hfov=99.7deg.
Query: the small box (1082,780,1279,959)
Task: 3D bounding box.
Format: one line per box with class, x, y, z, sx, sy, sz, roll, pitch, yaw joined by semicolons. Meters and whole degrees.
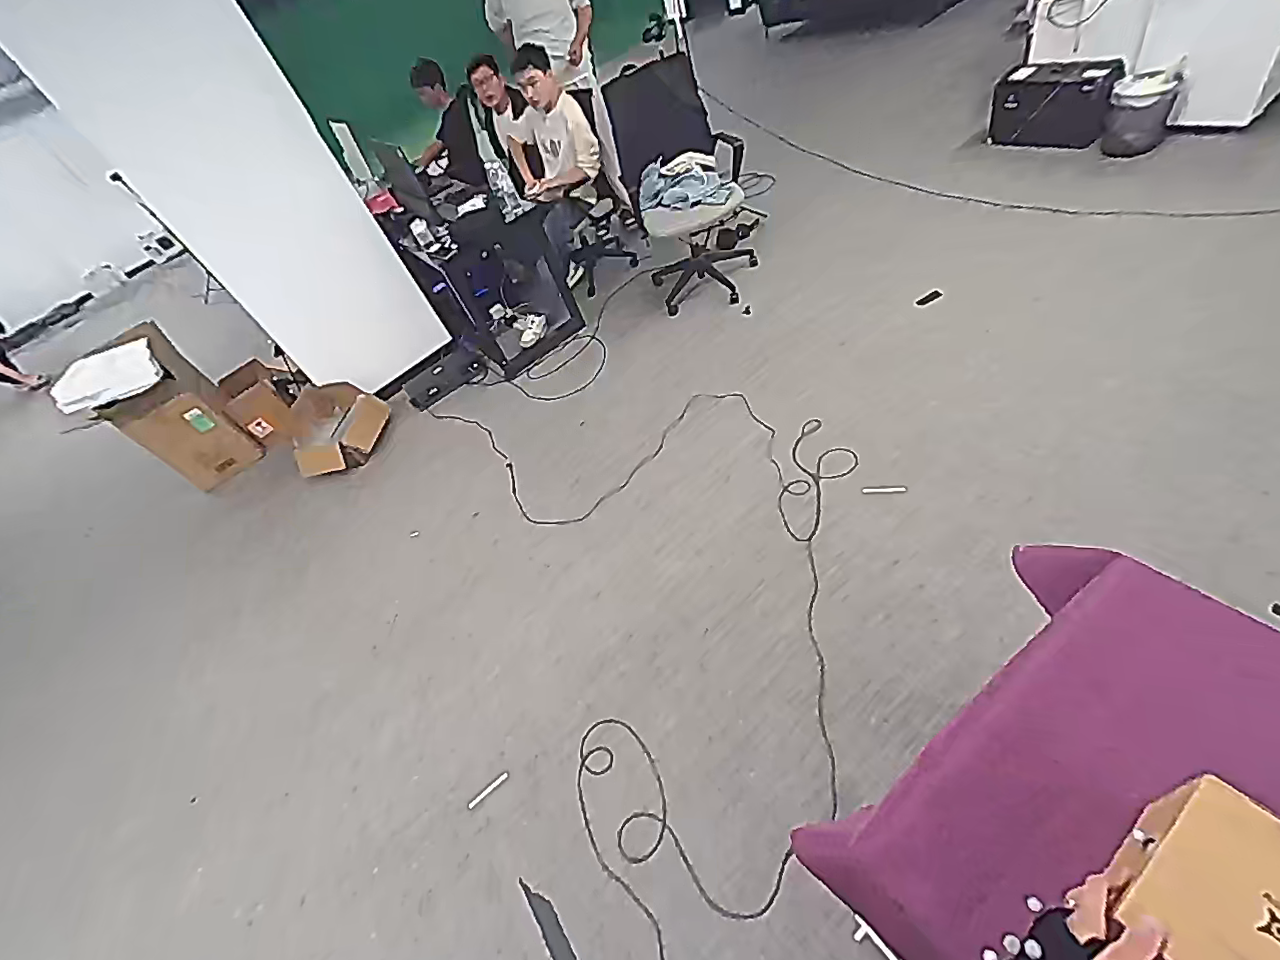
small box;0.559;0.425;0.501;0.179;0.176;0.168;-40;46;-13
